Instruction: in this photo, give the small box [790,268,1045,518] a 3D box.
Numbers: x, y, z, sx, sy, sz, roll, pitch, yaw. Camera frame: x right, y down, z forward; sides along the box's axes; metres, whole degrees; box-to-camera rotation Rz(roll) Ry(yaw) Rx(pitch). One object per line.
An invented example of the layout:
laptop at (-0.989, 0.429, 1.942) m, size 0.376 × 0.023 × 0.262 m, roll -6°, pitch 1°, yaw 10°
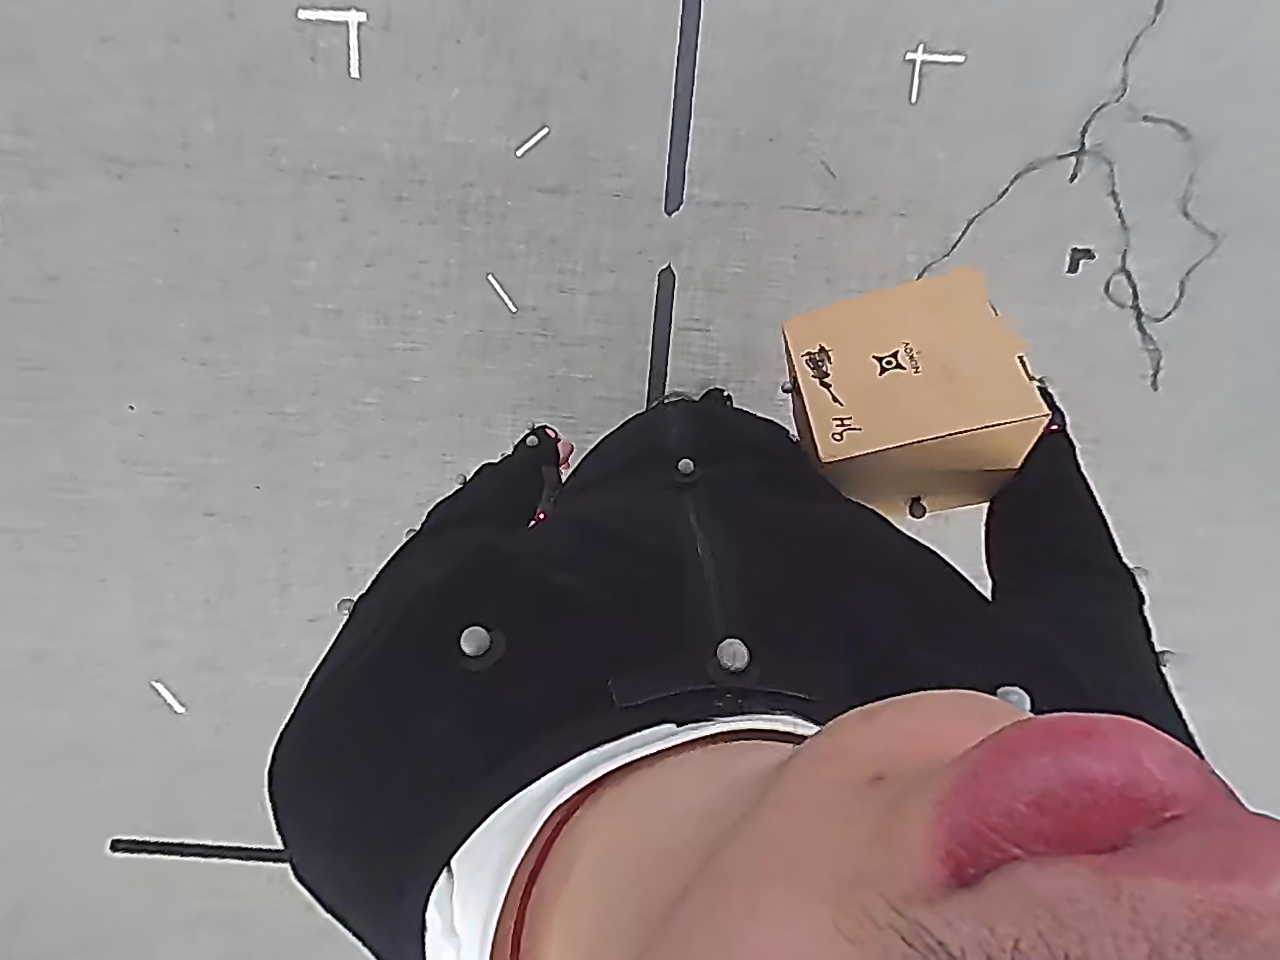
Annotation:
small box at (0.262, -0.076, 0.556) m, size 0.179 × 0.176 × 0.168 m, roll -13°, pitch 60°, yaw 14°
